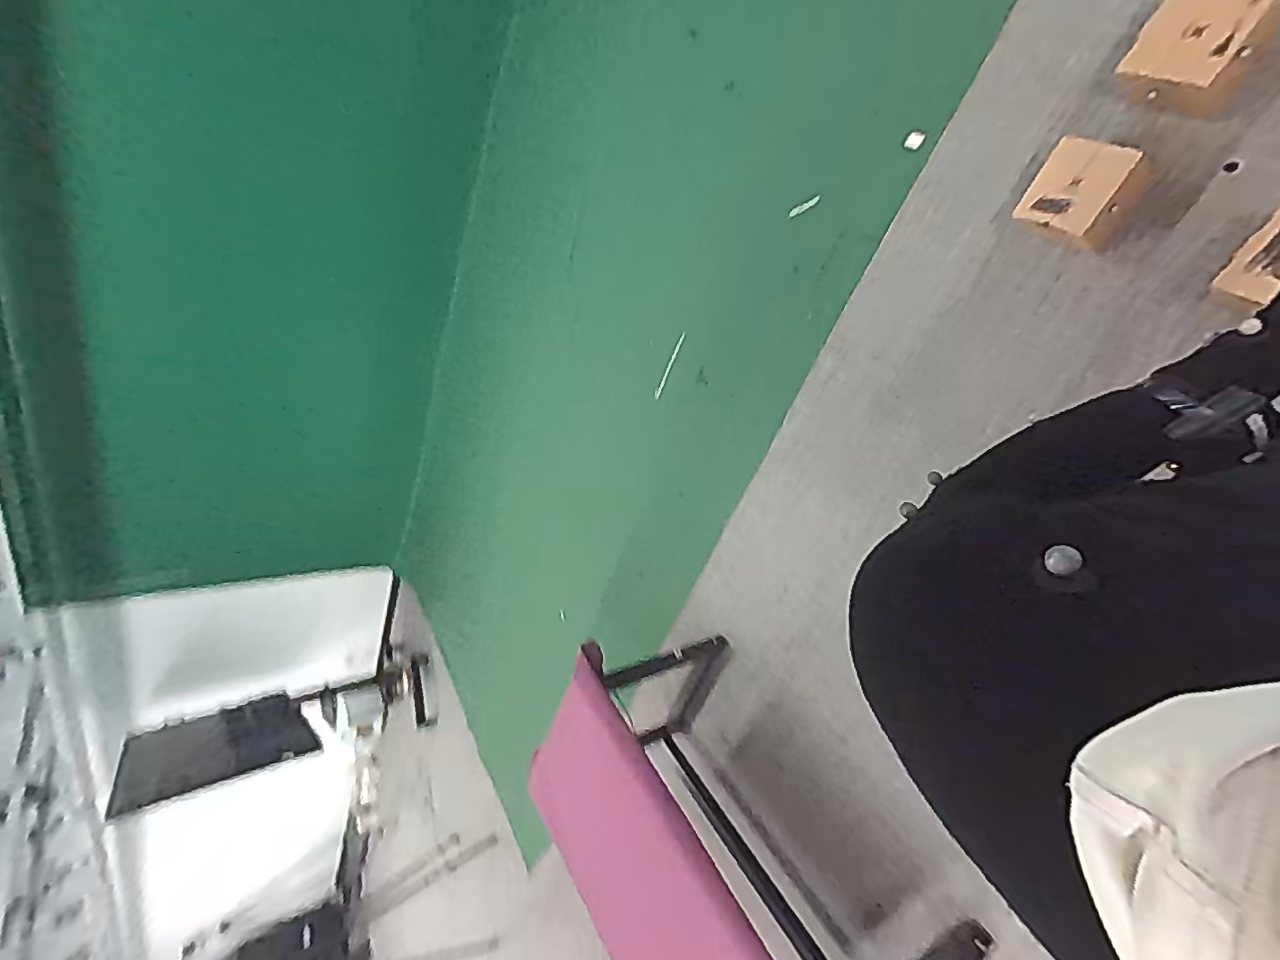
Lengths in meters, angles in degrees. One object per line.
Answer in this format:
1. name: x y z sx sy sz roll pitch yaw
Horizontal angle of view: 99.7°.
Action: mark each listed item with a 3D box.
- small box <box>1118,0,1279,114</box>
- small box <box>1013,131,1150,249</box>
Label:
1. small box: 1.133 -0.875 1.091 0.179 0.176 0.168 50 127 36
2. small box: 1.014 -0.656 1.238 0.168 0.176 0.179 48 125 36
